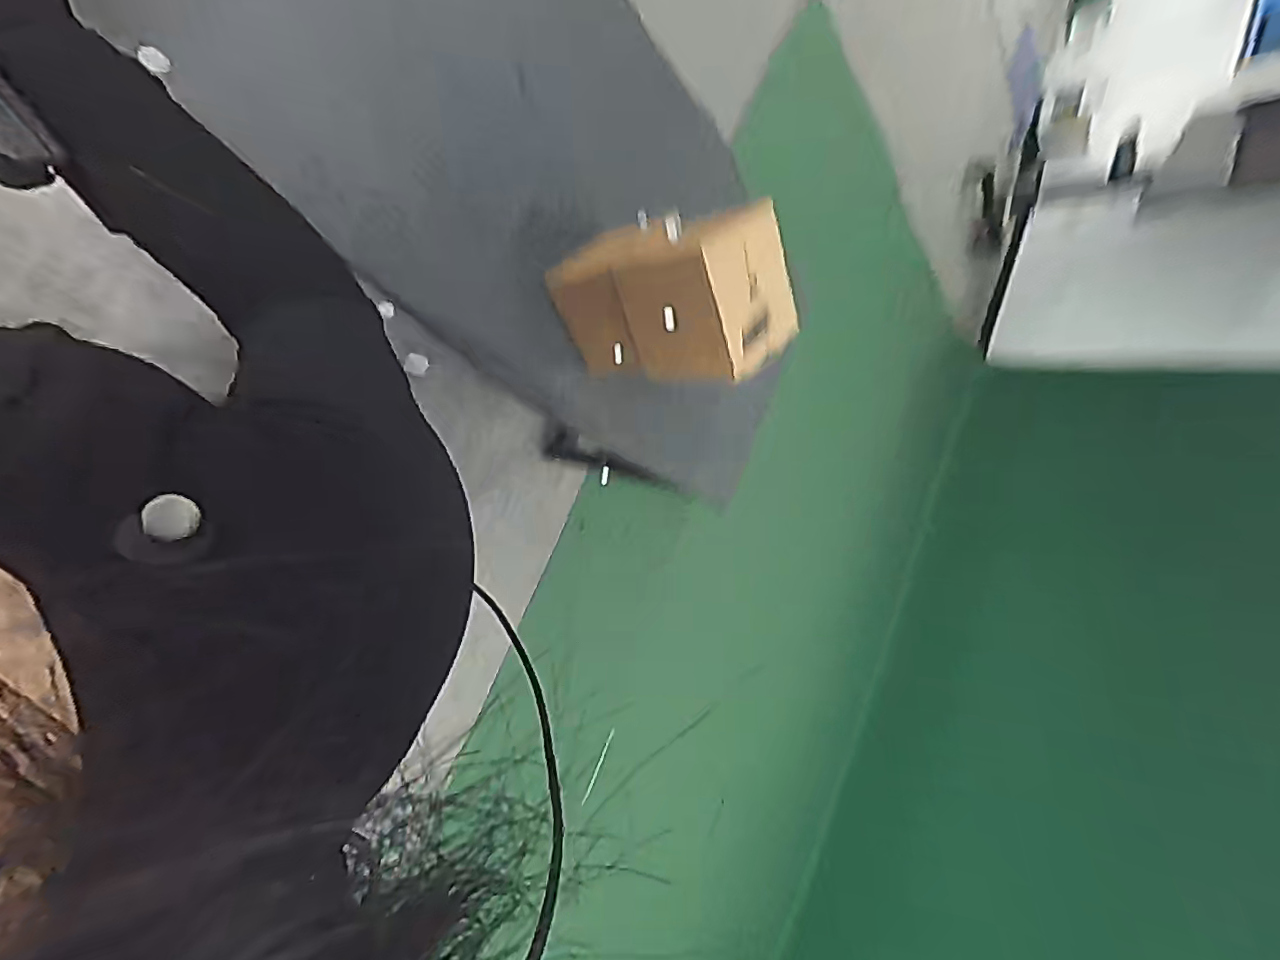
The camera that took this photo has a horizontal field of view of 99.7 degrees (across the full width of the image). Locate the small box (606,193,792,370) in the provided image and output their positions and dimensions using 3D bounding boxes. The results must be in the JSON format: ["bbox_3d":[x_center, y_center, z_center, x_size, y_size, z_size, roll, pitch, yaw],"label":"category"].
[{"bbox_3d":[0.083,-0.270,0.755,0.168,0.176,0.179,-42,124,-30],"label":"small box"}]
